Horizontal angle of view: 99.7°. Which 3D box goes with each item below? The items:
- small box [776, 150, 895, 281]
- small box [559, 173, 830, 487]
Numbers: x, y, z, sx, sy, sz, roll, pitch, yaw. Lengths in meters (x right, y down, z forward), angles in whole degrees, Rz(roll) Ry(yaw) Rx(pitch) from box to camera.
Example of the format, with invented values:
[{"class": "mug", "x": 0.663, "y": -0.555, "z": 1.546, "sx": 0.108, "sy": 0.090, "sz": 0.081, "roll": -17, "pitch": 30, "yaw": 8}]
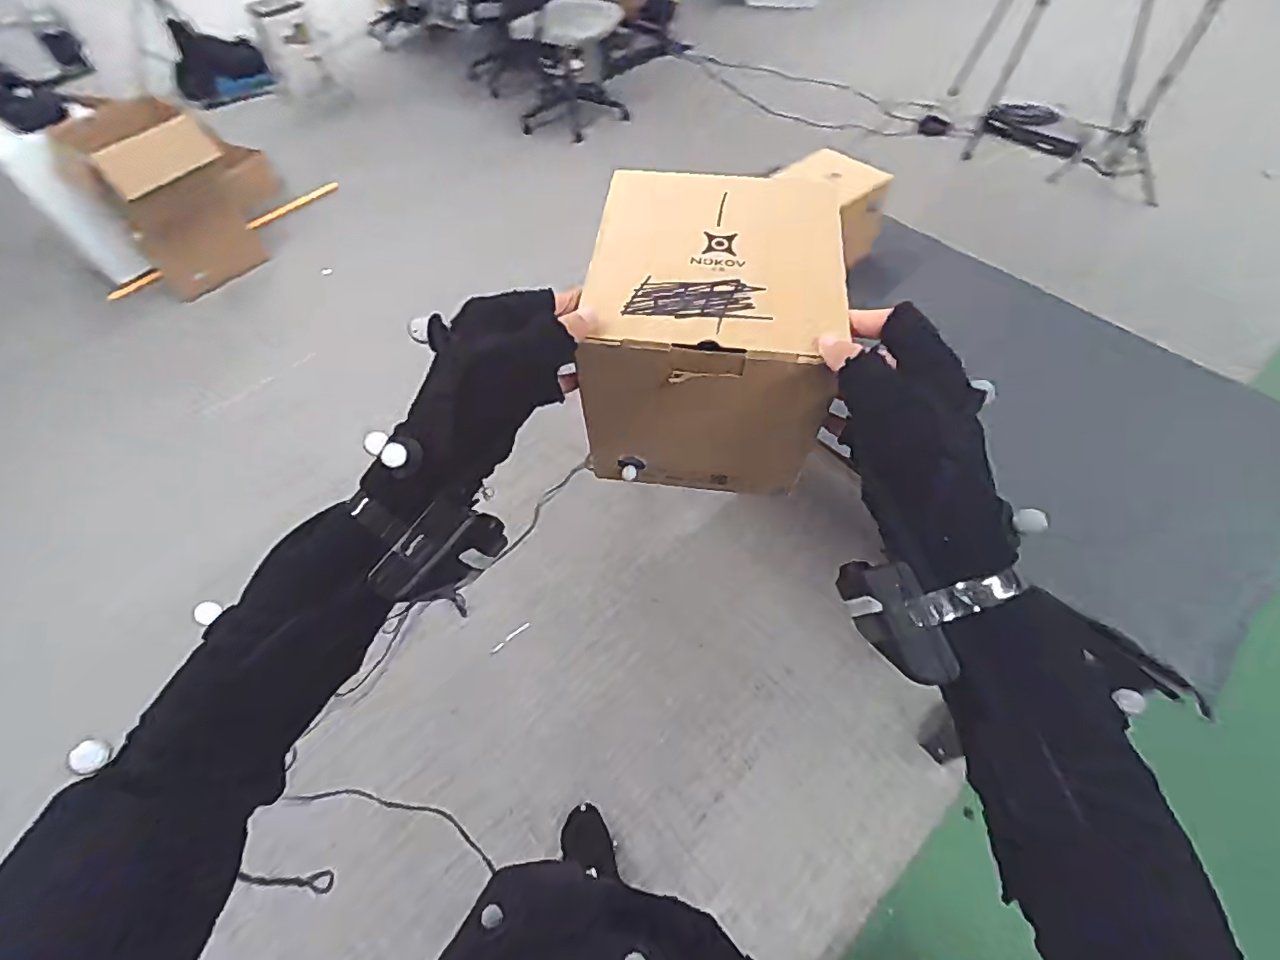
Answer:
[{"class": "small box", "x": 0.384, "y": -0.543, "z": 1.123, "sx": 0.179, "sy": 0.176, "sz": 0.168, "roll": -35, "pitch": 60, "yaw": -19}, {"class": "small box", "x": 0.043, "y": -0.110, "z": 0.430, "sx": 0.168, "sy": 0.176, "sz": 0.179, "roll": 5, "pitch": 60, "yaw": 4}]
